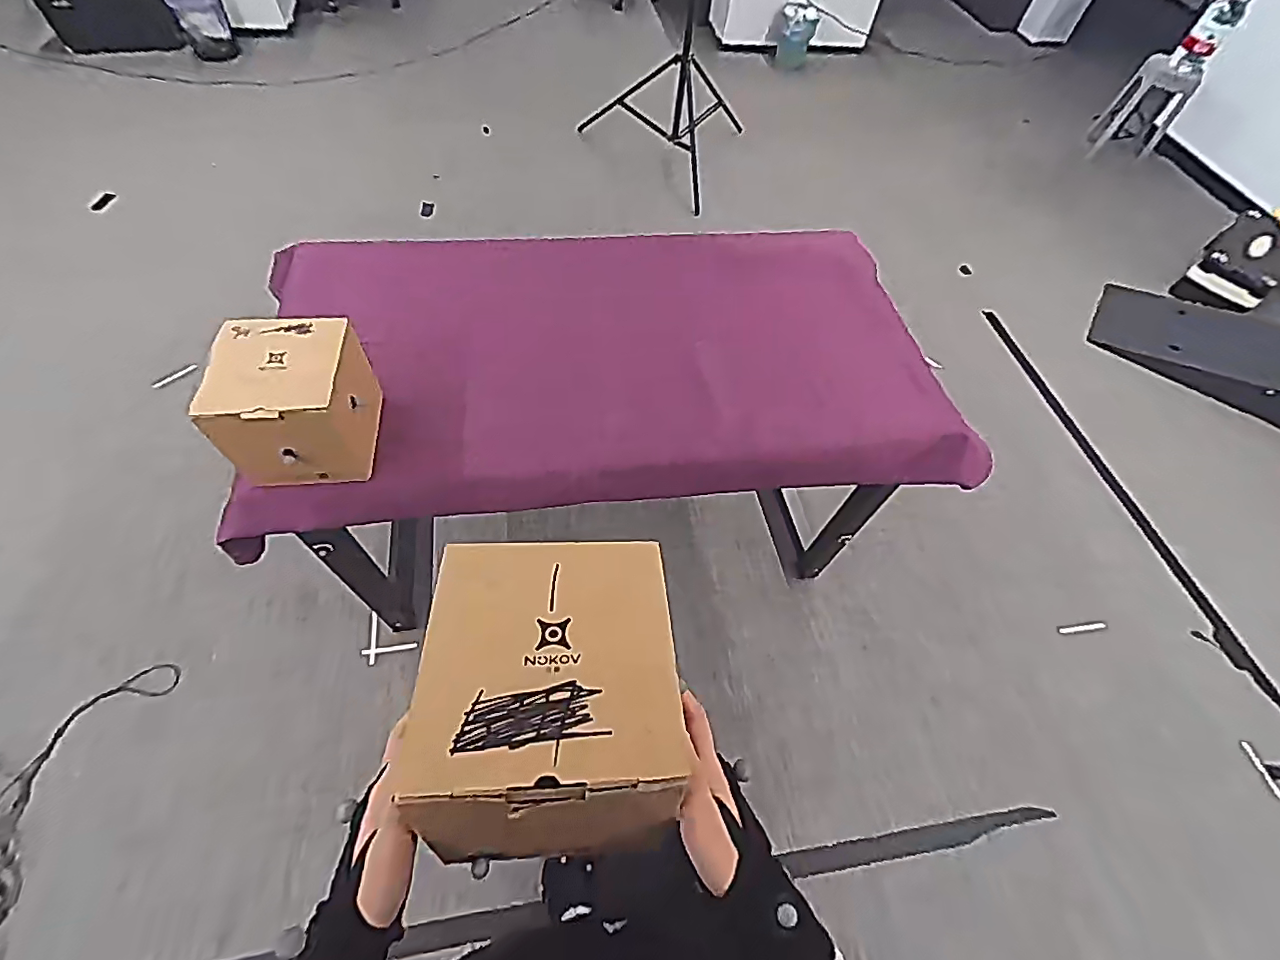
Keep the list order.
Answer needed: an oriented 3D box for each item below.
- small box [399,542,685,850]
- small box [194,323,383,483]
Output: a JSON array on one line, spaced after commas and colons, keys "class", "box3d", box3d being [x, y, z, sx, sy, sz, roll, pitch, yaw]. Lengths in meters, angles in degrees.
[{"class": "small box", "box3d": [-0.065, 0.168, 0.419, 0.168, 0.176, 0.179, 0, 44, -7]}, {"class": "small box", "box3d": [-0.494, -0.105, 0.793, 0.168, 0.176, 0.179, -4, 58, -9]}]
